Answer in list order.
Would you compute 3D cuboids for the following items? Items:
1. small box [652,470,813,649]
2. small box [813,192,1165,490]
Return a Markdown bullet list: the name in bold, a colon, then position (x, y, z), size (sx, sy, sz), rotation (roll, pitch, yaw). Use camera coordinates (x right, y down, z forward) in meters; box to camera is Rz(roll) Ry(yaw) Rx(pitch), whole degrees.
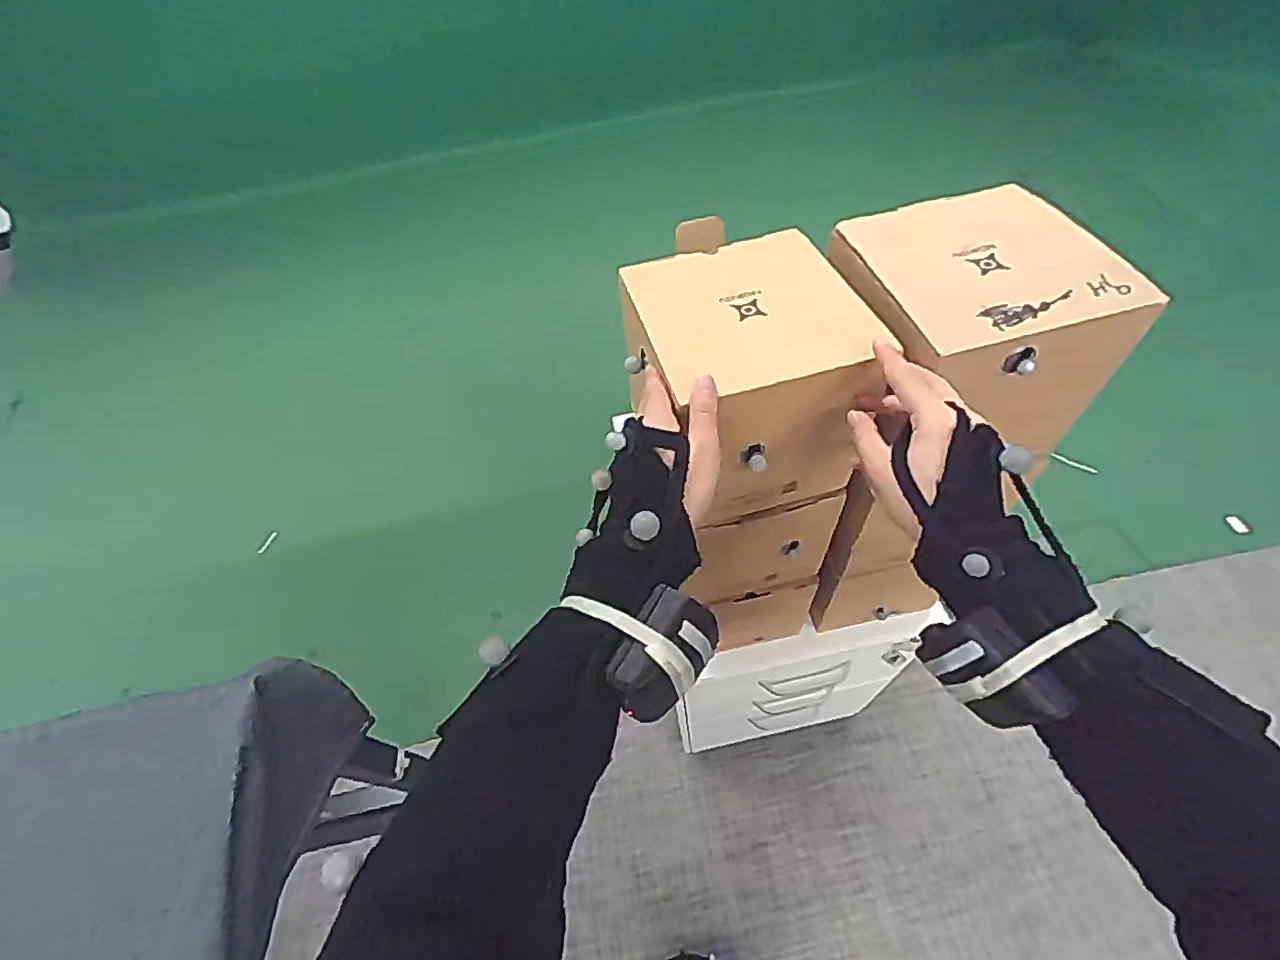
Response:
- **small box**: position (0.116, 0.116, 0.734), size (0.168, 0.176, 0.179), rotation (-11, 53, -3)
- **small box**: position (0.270, -0.119, 0.478), size (0.168, 0.176, 0.179), rotation (-13, 53, -2)
